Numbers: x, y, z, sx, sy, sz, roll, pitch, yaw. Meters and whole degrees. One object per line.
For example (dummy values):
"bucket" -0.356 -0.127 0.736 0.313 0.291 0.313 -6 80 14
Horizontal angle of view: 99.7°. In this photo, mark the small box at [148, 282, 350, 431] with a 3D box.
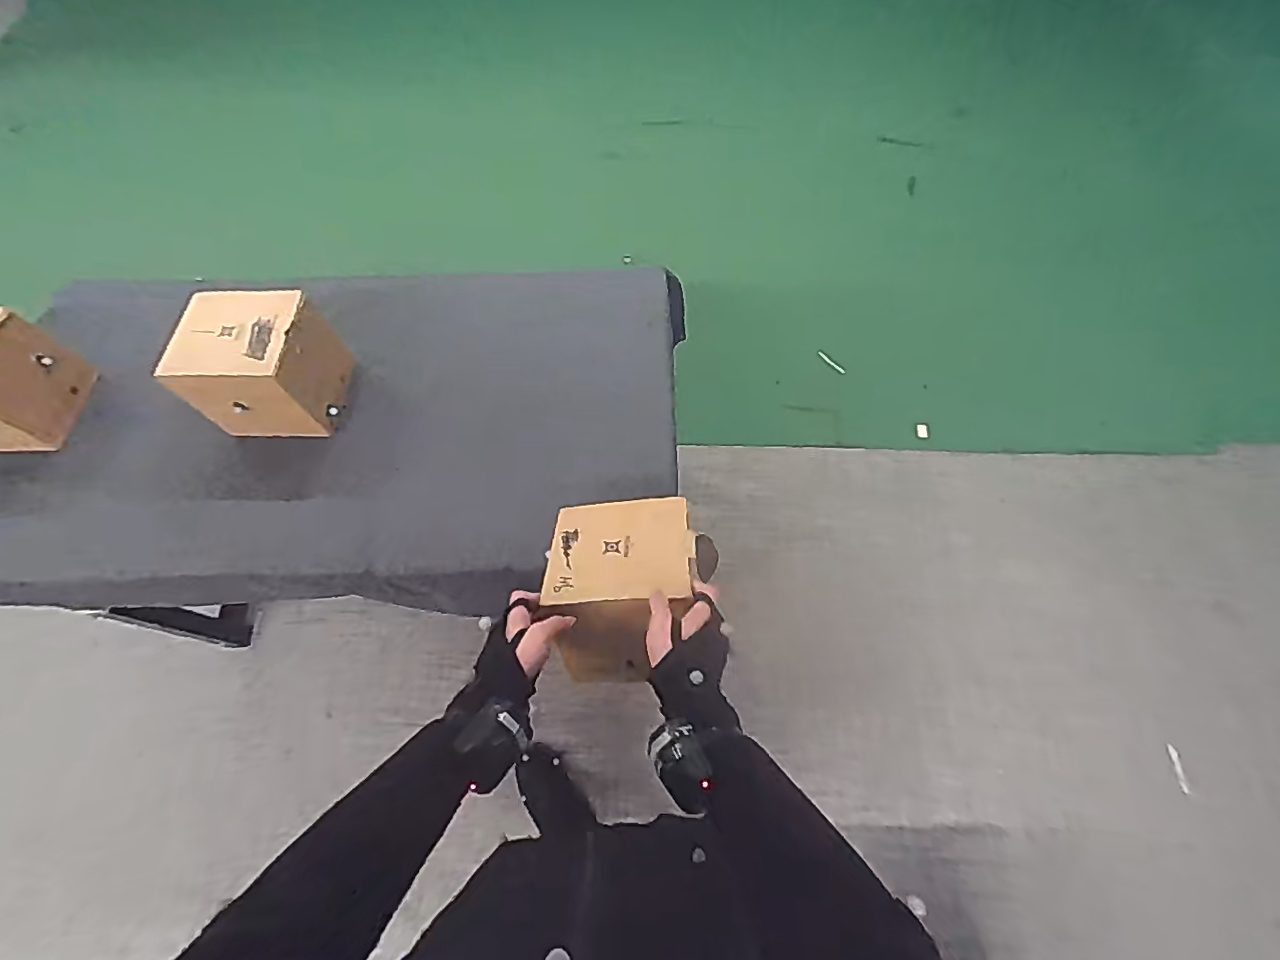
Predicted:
"small box" -0.598 -0.189 0.858 0.179 0.176 0.168 1 62 0

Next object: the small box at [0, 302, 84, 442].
"small box" -1.049 -0.169 0.841 0.179 0.176 0.168 -1 61 -1

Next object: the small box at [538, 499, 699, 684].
"small box" -0.014 0.144 0.696 0.179 0.176 0.168 -4 36 6
